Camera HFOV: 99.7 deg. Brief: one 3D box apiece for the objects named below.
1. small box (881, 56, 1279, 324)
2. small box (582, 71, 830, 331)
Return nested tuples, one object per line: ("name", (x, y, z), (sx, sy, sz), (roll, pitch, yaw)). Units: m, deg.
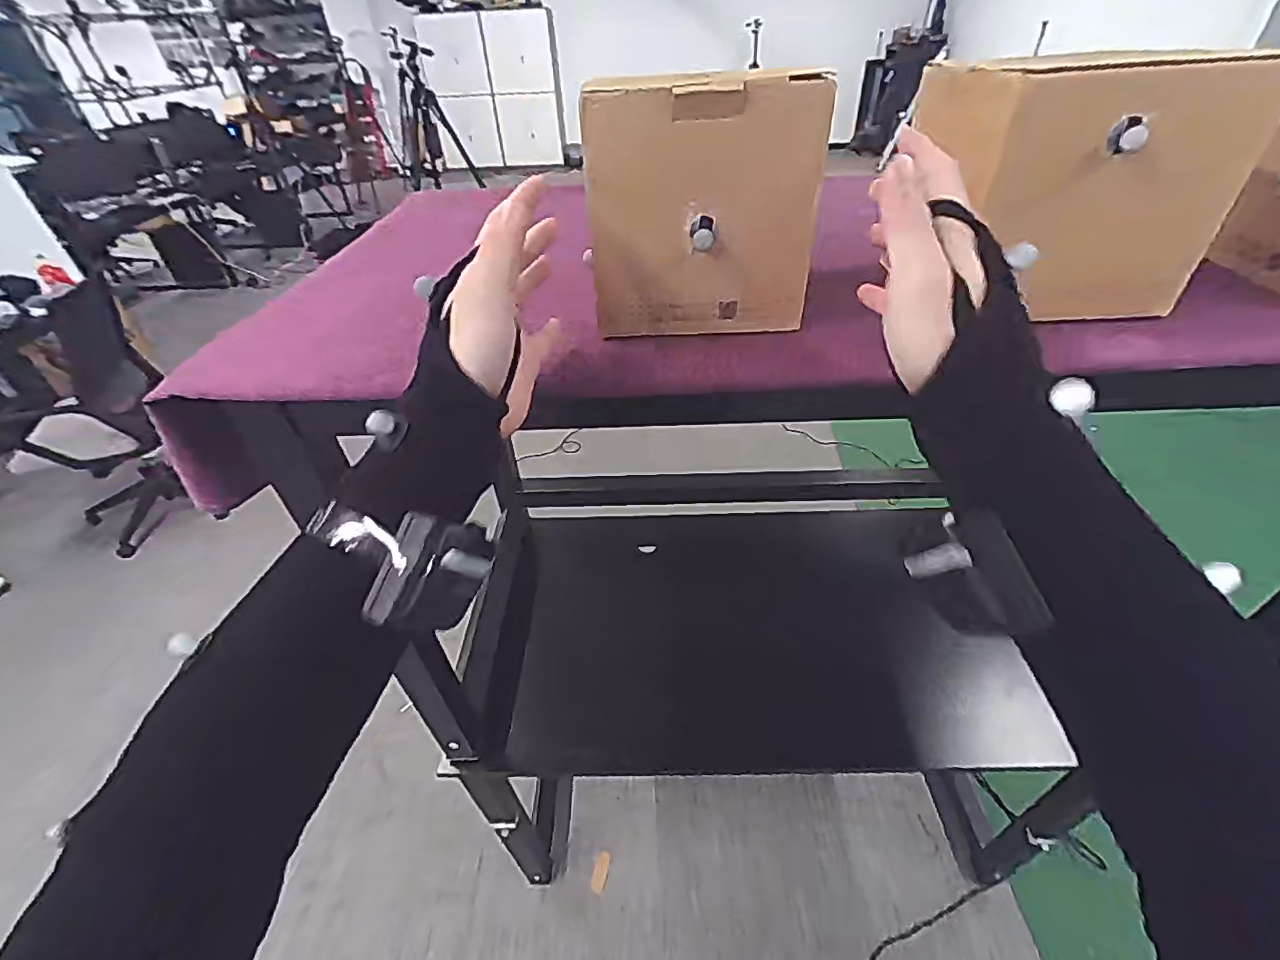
("small box", (0.330, -0.242, 0.454), (0.179, 0.176, 0.168), (-2, 38, 3))
("small box", (0.048, -0.237, 0.465), (0.168, 0.176, 0.179), (-2, 39, 2))
